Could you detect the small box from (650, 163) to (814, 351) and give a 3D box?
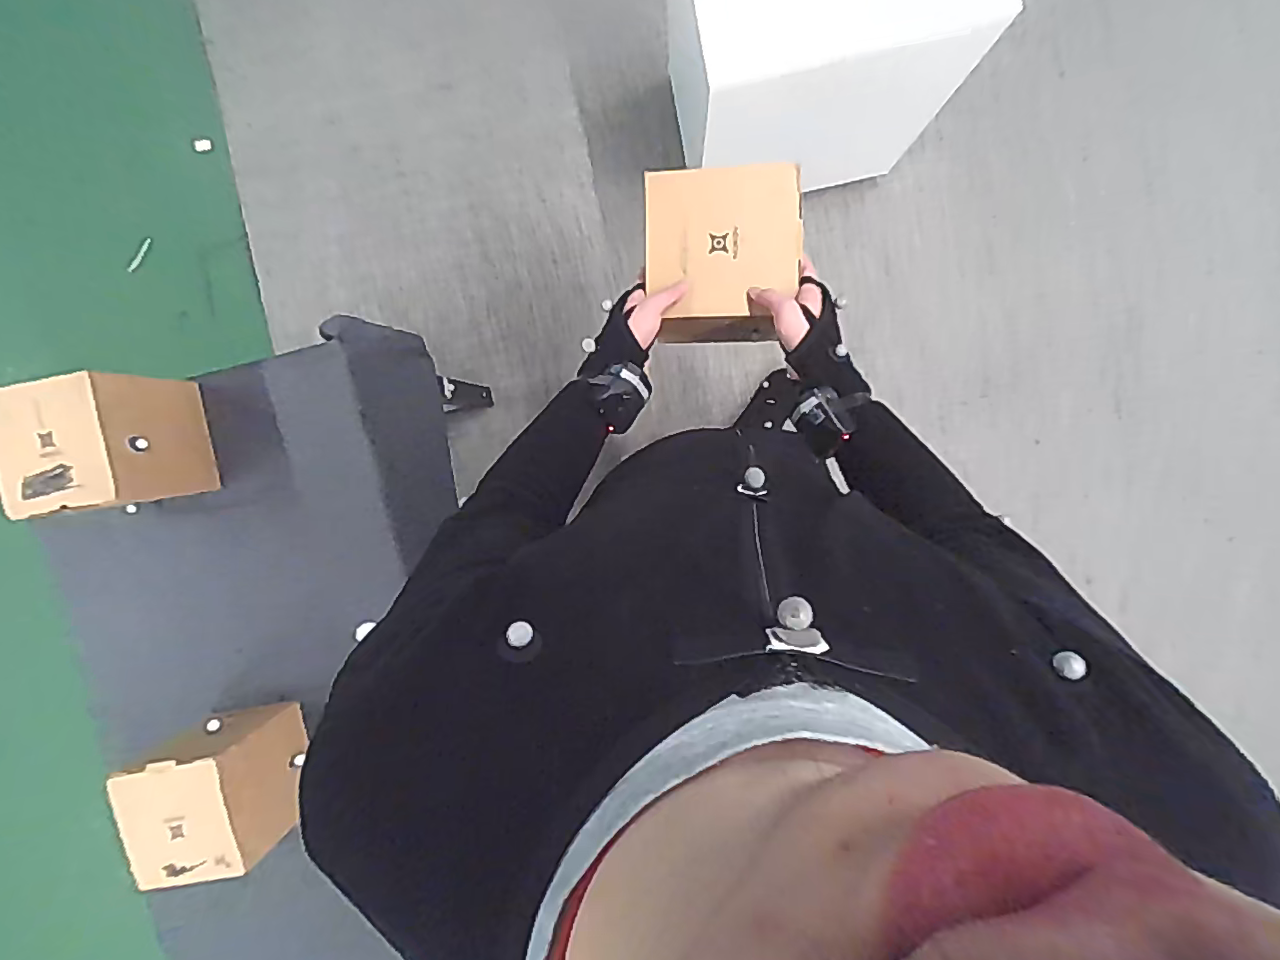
[{"bbox_3d":[0.106,-0.261,0.669,0.179,0.176,0.168,-2,92,5],"label":"small box"}]
